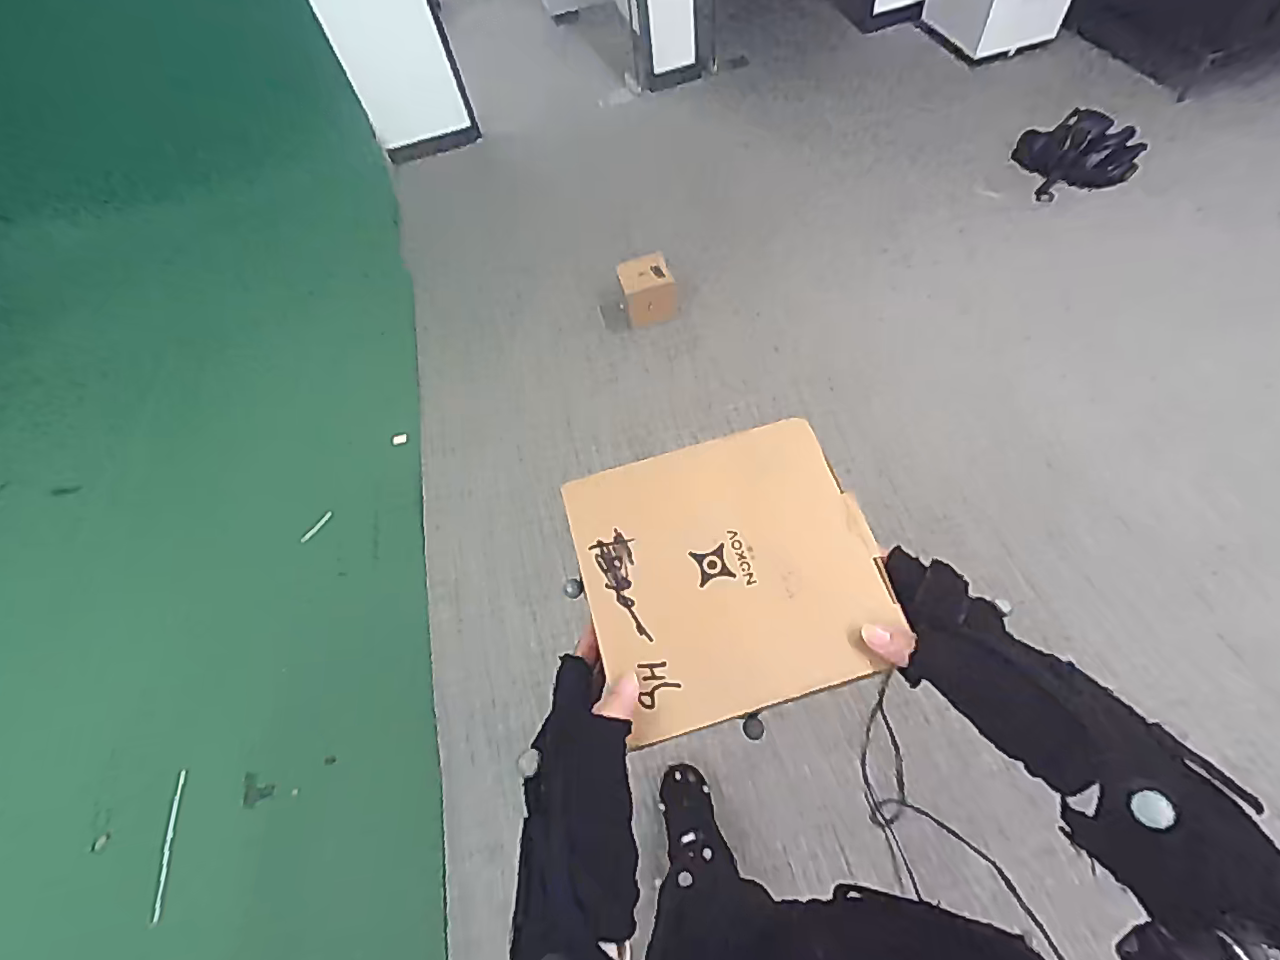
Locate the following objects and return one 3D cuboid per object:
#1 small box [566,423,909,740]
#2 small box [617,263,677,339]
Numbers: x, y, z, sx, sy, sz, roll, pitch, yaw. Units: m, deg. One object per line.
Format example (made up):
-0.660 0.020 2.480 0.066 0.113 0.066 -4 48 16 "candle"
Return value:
0.054 0.085 0.405 0.179 0.176 0.168 -14 63 -5 "small box"
0.029 -0.643 1.952 0.179 0.176 0.168 -17 57 -1 "small box"
